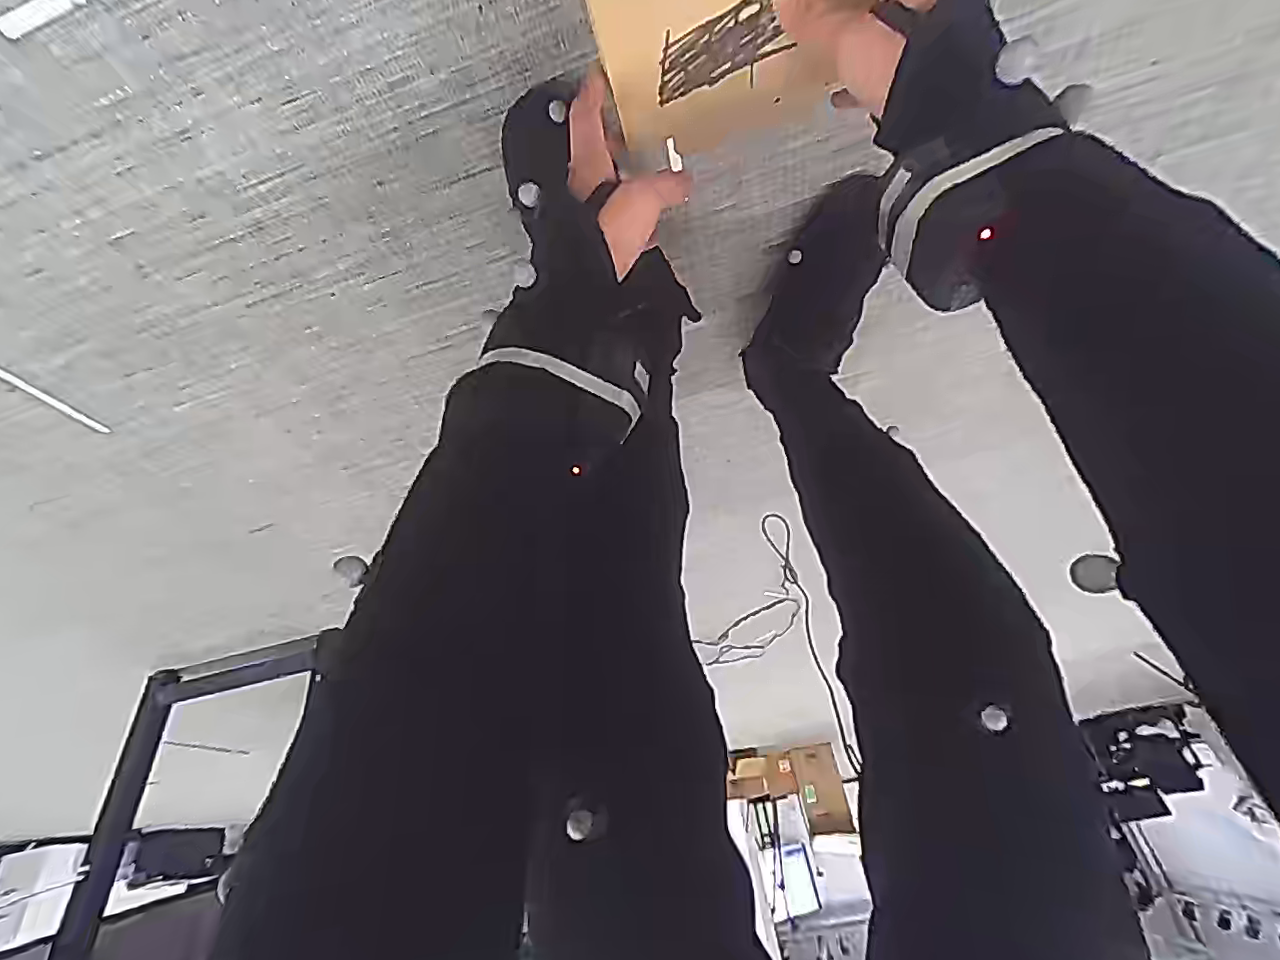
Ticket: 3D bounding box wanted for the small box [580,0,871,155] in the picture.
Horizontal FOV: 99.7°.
[{"bbox_3d":[0.035,-0.351,0.335,0.168,0.176,0.179,-16,145,7],"label":"small box"}]
